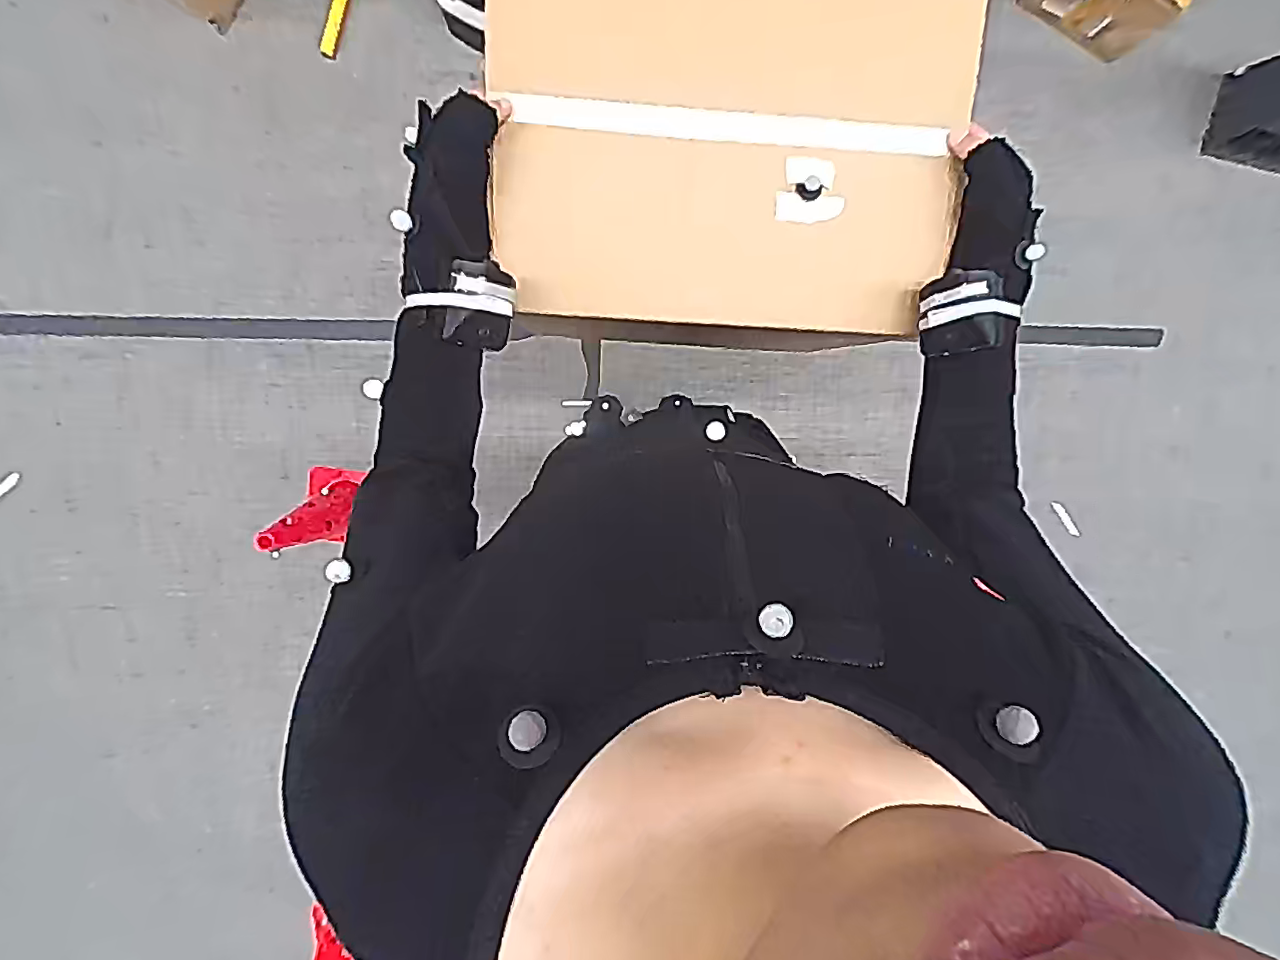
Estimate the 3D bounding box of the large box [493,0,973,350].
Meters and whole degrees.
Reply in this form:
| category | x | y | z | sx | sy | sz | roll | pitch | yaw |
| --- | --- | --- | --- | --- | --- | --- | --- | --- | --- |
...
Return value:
| category | x | y | z | sx | sy | sz | roll | pitch | yaw |
| --- | --- | --- | --- | --- | --- | --- | --- | --- | --- |
| large box | 0.065 | -0.319 | 0.604 | 0.408 | 0.320 | 0.320 | 2 | 101 | -5 |

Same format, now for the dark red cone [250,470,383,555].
| category | x | y | z | sx | sy | sz | roll | pitch | yaw |
| --- | --- | --- | --- | --- | --- | --- | --- | --- | --- |
| dark red cone | -0.761 | 0.102 | 1.244 | 0.201 | 0.394 | 0.202 | 6 | 98 | -6 |

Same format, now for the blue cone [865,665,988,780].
| category | x | y | z | sx | sy | sz | roll | pitch | yaw |
| --- | --- | --- | --- | --- | --- | --- | --- | --- | --- |
| blue cone | 0.792 | 0.675 | 1.474 | 0.192 | 0.380 | 0.193 | 3 | 98 | -5 |

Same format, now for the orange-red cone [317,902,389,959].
| category | x | y | z | sx | sy | sz | roll | pitch | yaw |
| --- | --- | --- | --- | --- | --- | --- | --- | --- | --- |
| orange-red cone | -0.852 | 1.383 | 1.454 | 0.198 | 0.360 | 0.199 | -2 | 100 | -3 |
